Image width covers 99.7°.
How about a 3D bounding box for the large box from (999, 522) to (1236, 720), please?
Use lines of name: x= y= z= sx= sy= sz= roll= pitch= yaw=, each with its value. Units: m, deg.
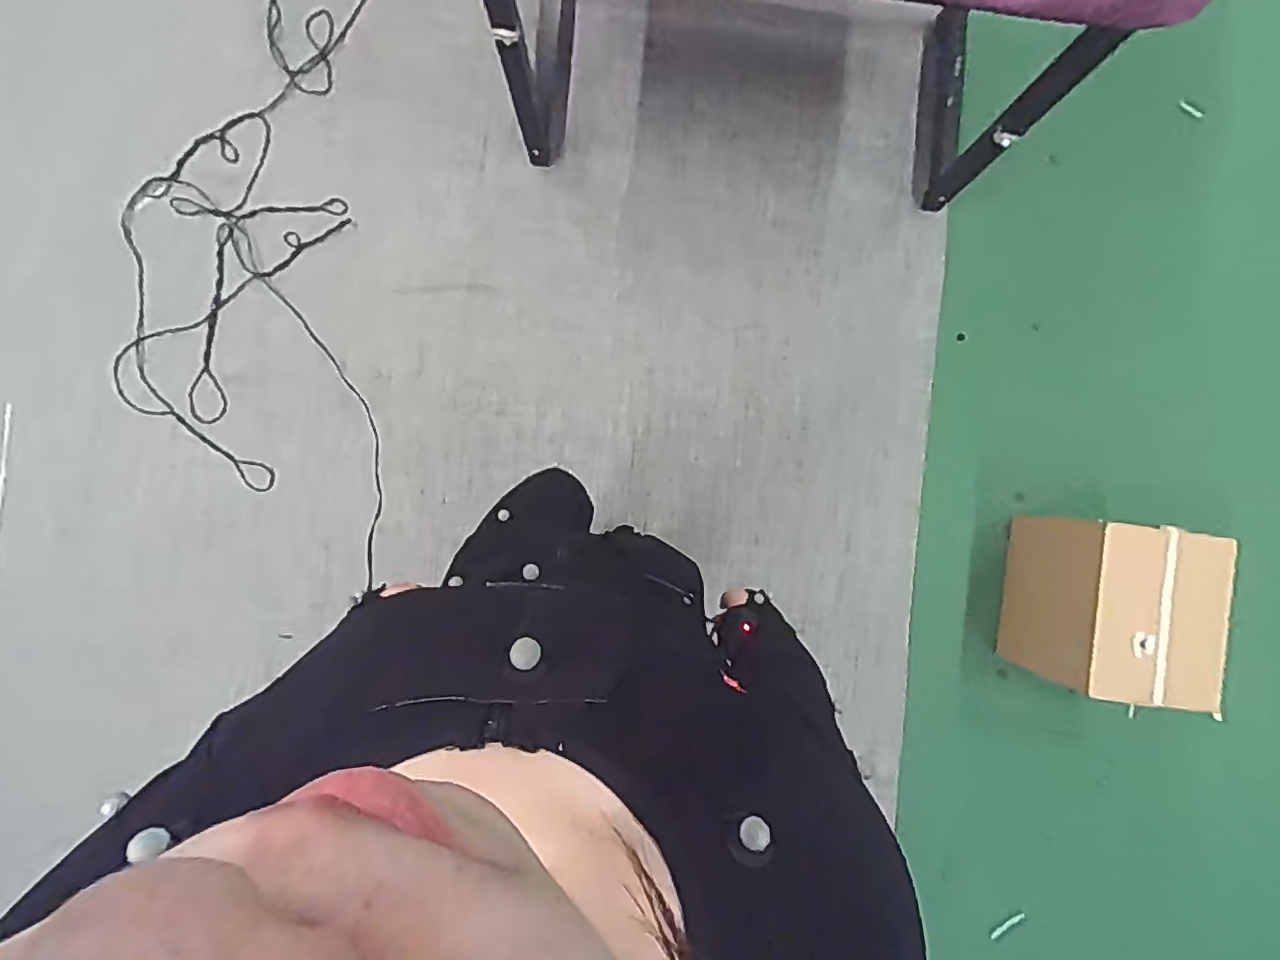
large box: x=1.175 y=0.328 z=1.366 sx=0.320 sy=0.320 sz=0.408 roll=8 pitch=89 yaw=-1
